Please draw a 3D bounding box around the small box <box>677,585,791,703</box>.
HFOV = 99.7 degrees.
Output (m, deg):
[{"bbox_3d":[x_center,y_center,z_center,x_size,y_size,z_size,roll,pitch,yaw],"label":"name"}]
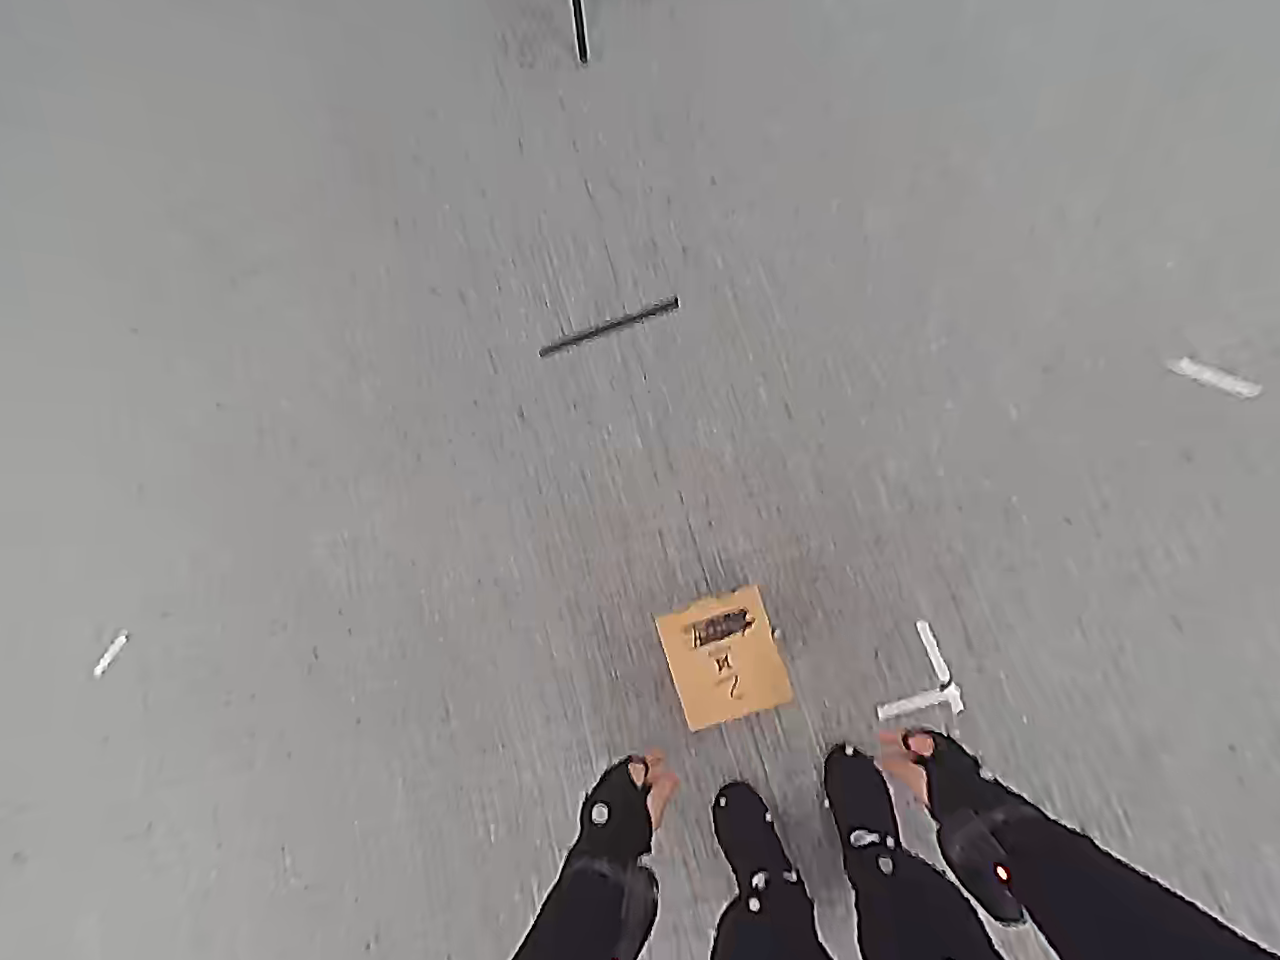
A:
[{"bbox_3d":[0.180,0.315,1.061,0.168,0.176,0.179,-19,75,6],"label":"small box"}]
